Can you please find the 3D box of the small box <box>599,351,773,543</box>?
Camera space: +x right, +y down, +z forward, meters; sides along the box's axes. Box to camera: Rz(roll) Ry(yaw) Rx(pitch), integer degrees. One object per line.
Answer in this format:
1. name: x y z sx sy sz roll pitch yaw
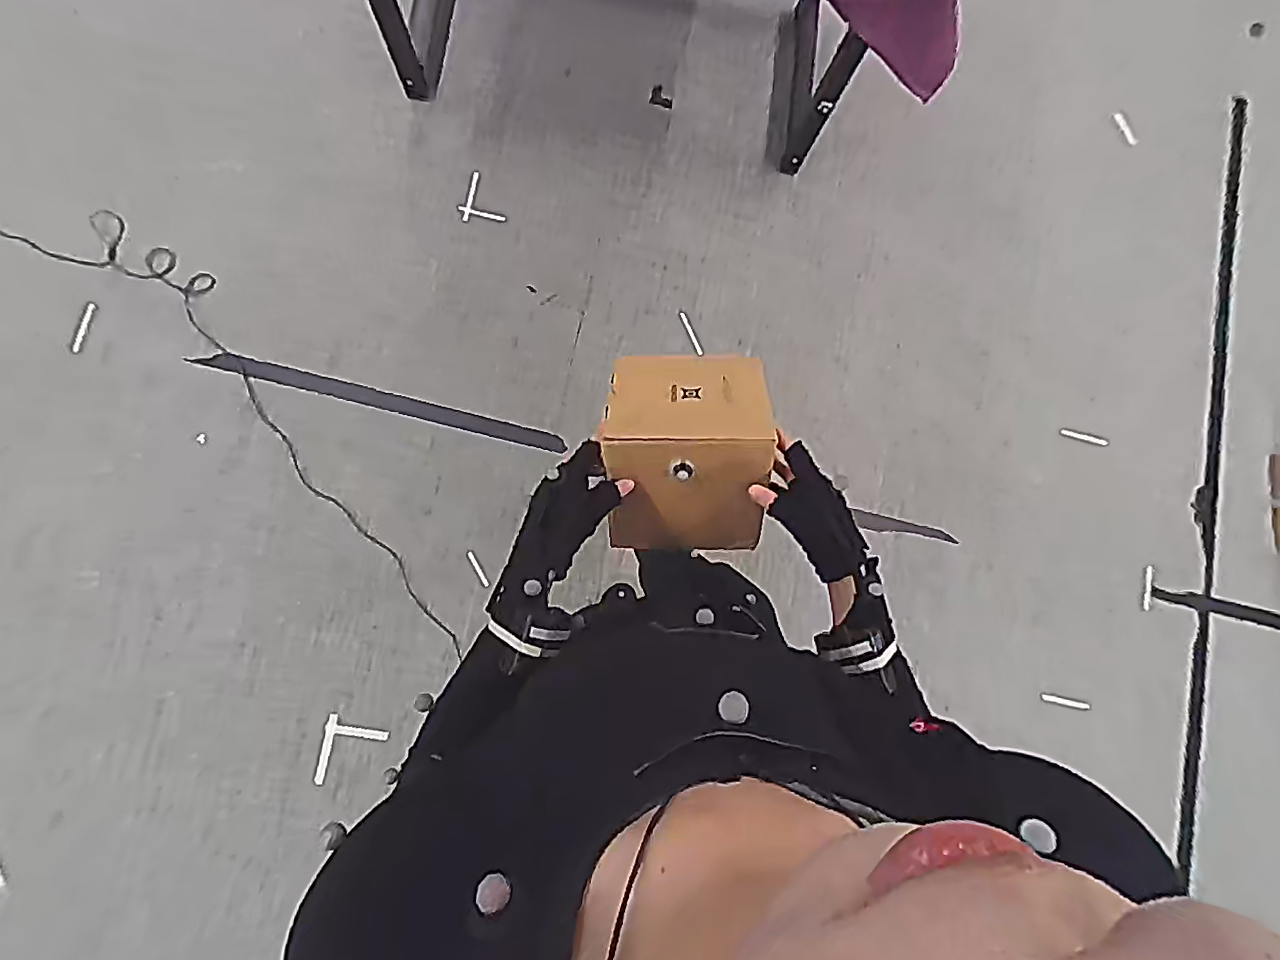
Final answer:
1. small box: 0.052 -0.039 0.644 0.179 0.176 0.168 1 42 3
